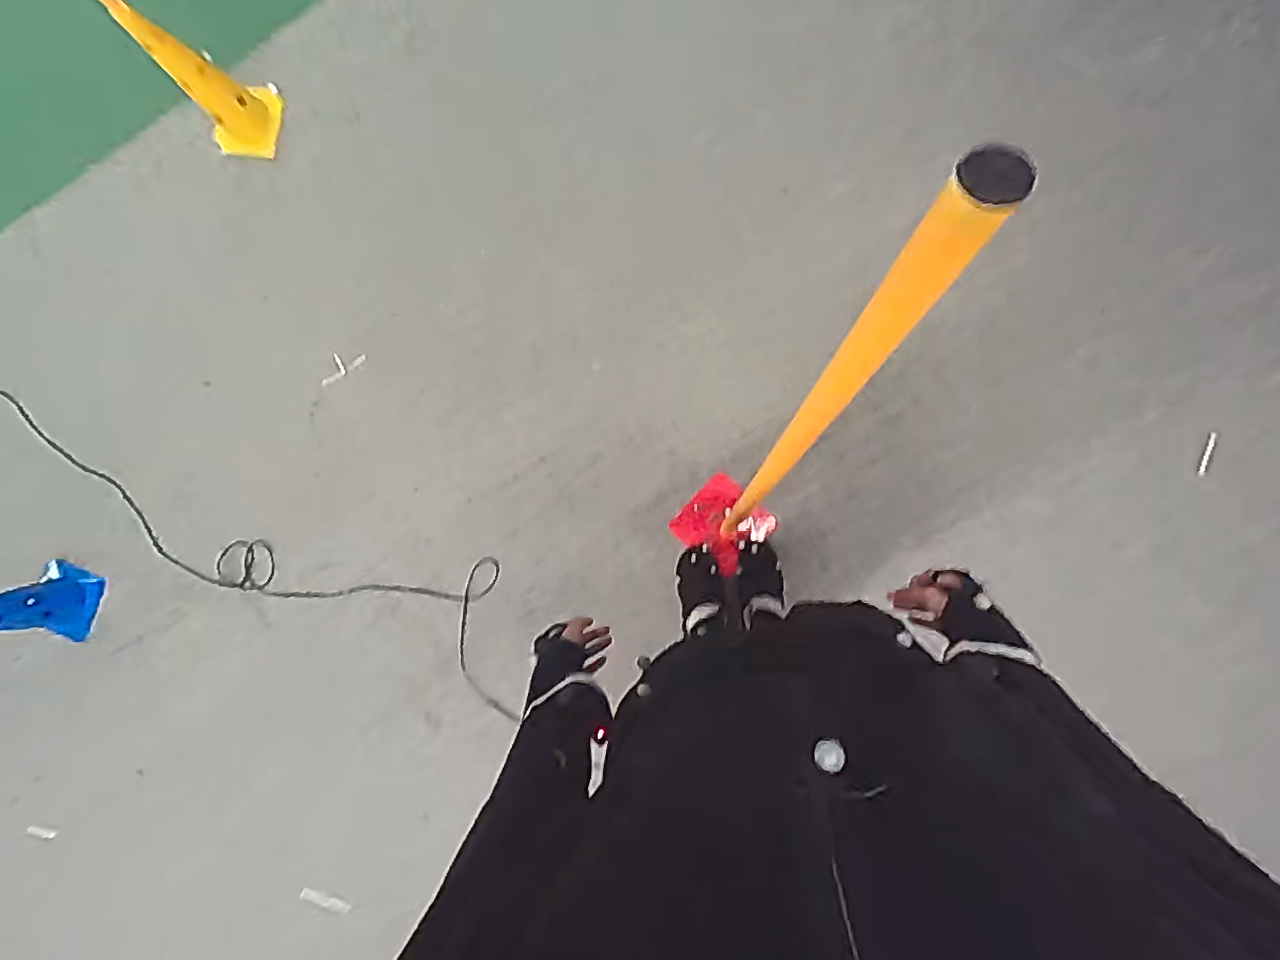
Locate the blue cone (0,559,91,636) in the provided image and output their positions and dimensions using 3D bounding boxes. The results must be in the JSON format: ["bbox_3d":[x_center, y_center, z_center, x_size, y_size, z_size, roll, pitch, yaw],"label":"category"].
[{"bbox_3d":[-1.673,0.332,1.369,0.192,0.380,0.193,18,91,7],"label":"blue cone"}]
